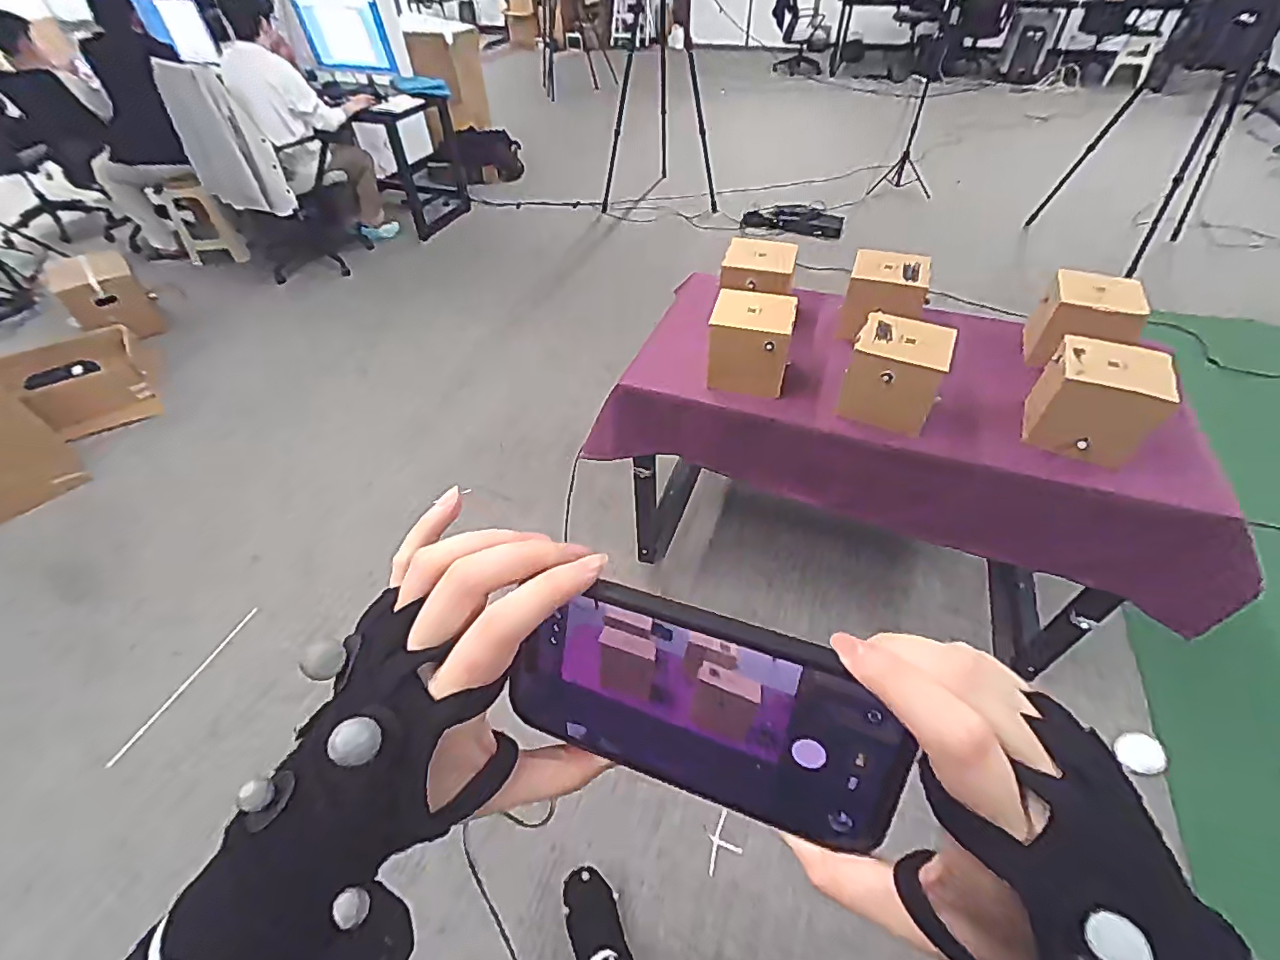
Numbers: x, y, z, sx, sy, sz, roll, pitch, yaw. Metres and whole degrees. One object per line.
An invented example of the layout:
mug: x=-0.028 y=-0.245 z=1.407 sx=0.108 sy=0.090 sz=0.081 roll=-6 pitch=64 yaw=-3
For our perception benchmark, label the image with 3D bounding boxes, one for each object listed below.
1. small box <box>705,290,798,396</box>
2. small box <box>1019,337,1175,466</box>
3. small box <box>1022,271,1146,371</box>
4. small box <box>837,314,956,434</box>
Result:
small box: x=0.253 y=-0.312 z=1.241 sx=0.179 sy=0.176 sz=0.168 roll=12 pitch=48 yaw=11
small box: x=0.894 y=-0.151 z=1.072 sx=0.179 sy=0.176 sz=0.168 roll=21 pitch=50 yaw=20
small box: x=1.025 y=-0.360 z=1.267 sx=0.168 sy=0.176 sz=0.179 roll=18 pitch=50 yaw=18
small box: x=0.538 y=-0.223 z=1.149 sx=0.179 sy=0.176 sz=0.168 roll=21 pitch=50 yaw=19
